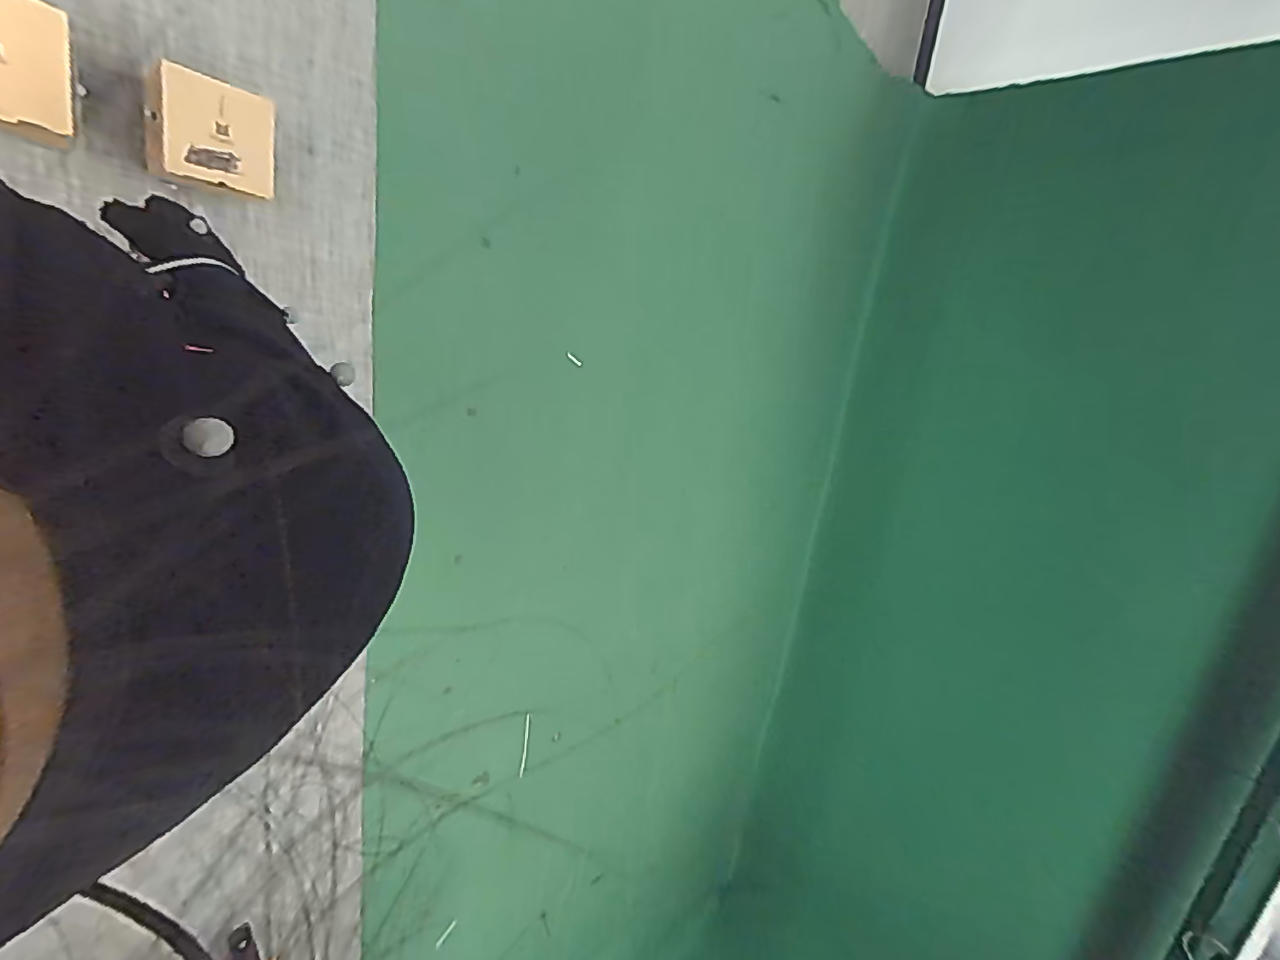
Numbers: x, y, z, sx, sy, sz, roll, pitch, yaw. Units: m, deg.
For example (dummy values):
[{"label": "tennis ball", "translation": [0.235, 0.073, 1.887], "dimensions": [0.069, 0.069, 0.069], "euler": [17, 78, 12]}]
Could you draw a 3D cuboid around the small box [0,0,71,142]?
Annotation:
[{"label": "small box", "translation": [-0.997, -0.648, 0.823], "dimensions": [0.168, 0.176, 0.179], "euler": [-4, 109, -49]}]

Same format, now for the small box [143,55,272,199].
[{"label": "small box", "translation": [-0.822, -0.651, 1.027], "dimensions": [0.168, 0.176, 0.179], "euler": [-5, 109, -49]}]
